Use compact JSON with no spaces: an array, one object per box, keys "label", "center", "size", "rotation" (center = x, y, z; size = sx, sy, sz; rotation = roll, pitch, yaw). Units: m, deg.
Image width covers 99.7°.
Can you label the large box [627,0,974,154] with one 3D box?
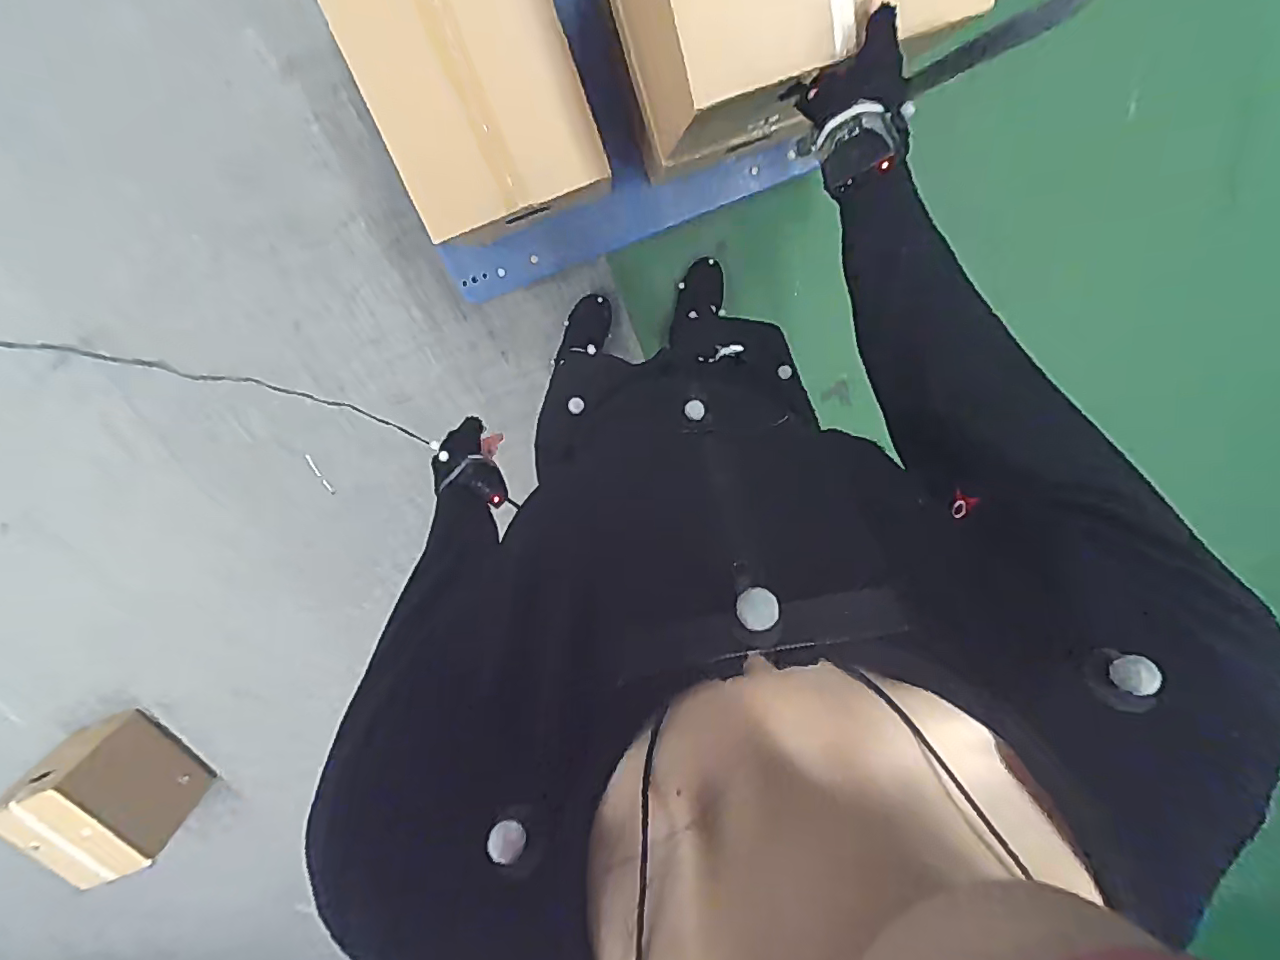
[{"label":"large box","center":[0.130,-0.653,0.597],"size":[0.320,0.320,0.408],"rotation":[-17,112,3]}]
